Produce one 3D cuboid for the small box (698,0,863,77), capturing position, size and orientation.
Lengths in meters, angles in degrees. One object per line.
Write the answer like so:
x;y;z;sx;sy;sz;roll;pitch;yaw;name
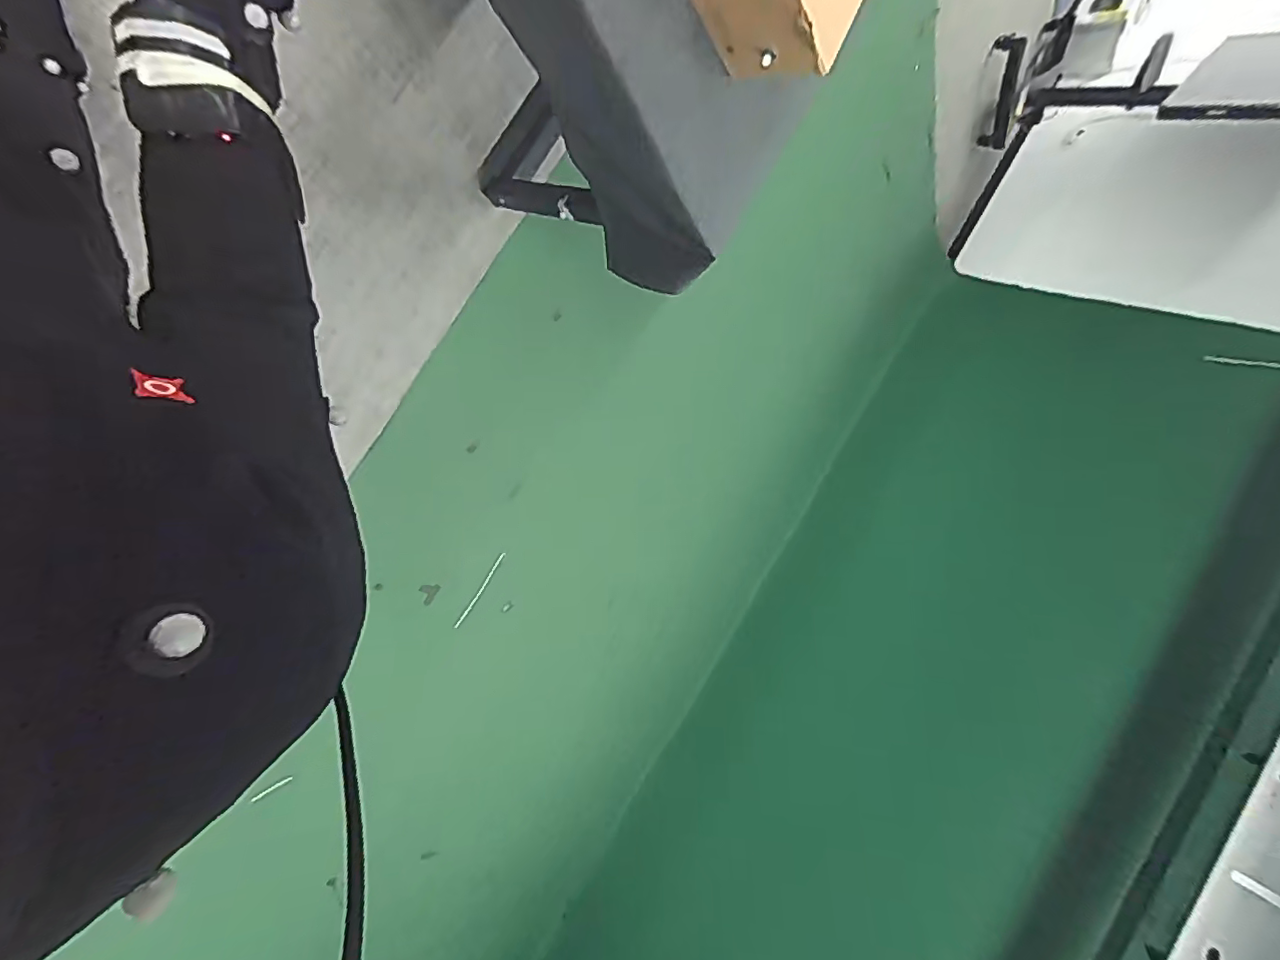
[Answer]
0.195;-0.694;0.741;0.168;0.176;0.179;18;98;-56;small box
